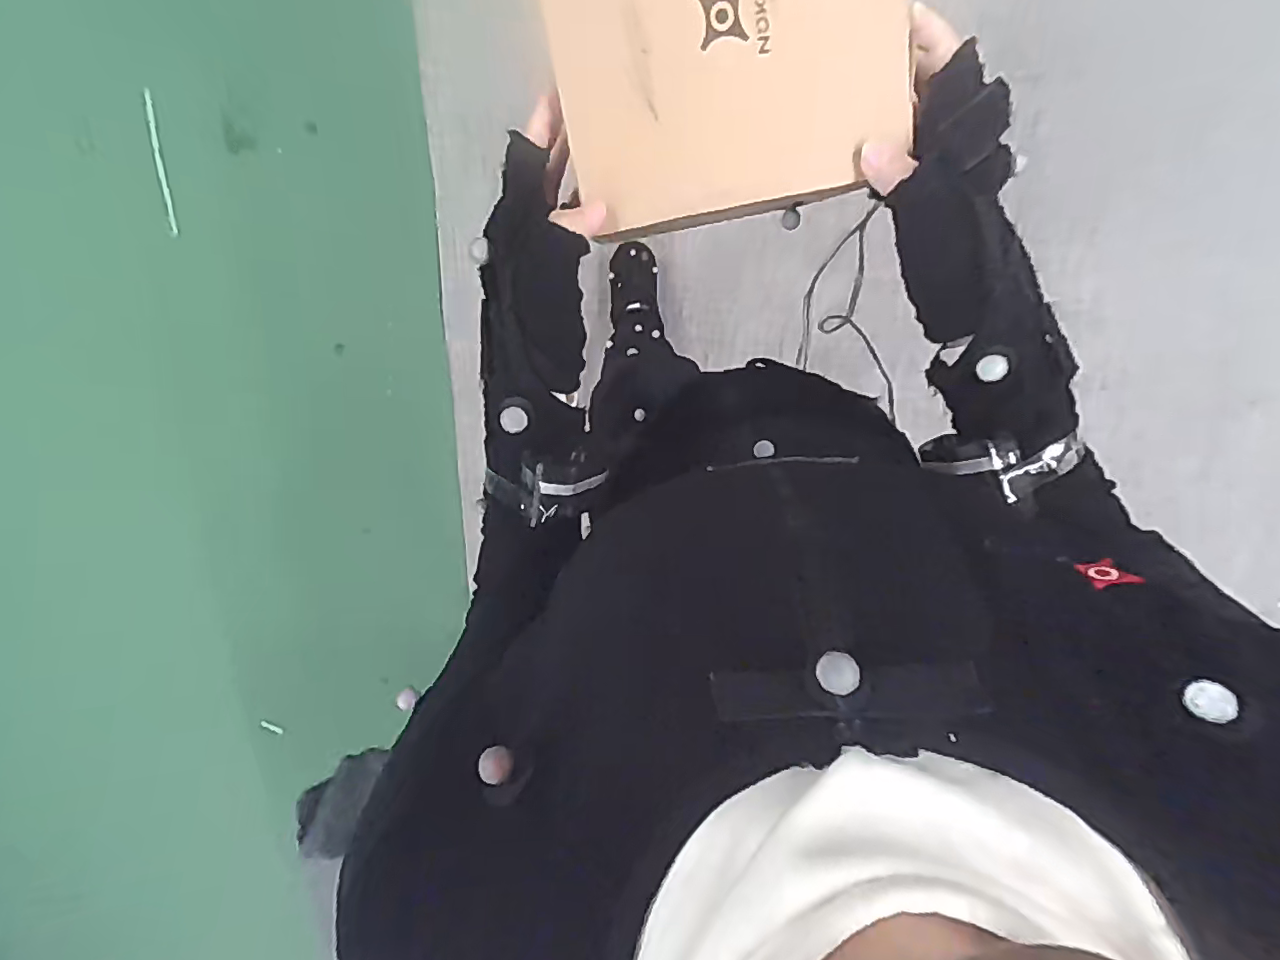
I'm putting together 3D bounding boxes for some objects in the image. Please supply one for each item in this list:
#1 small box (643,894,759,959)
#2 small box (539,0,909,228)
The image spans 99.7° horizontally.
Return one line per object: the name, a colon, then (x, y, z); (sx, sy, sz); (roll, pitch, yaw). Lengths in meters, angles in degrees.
small box: (0.089, 0.791, 0.843); (0.179, 0.176, 0.168); (4, 110, 4)
small box: (0.038, -0.260, 0.330); (0.179, 0.176, 0.168); (-10, 112, 4)
